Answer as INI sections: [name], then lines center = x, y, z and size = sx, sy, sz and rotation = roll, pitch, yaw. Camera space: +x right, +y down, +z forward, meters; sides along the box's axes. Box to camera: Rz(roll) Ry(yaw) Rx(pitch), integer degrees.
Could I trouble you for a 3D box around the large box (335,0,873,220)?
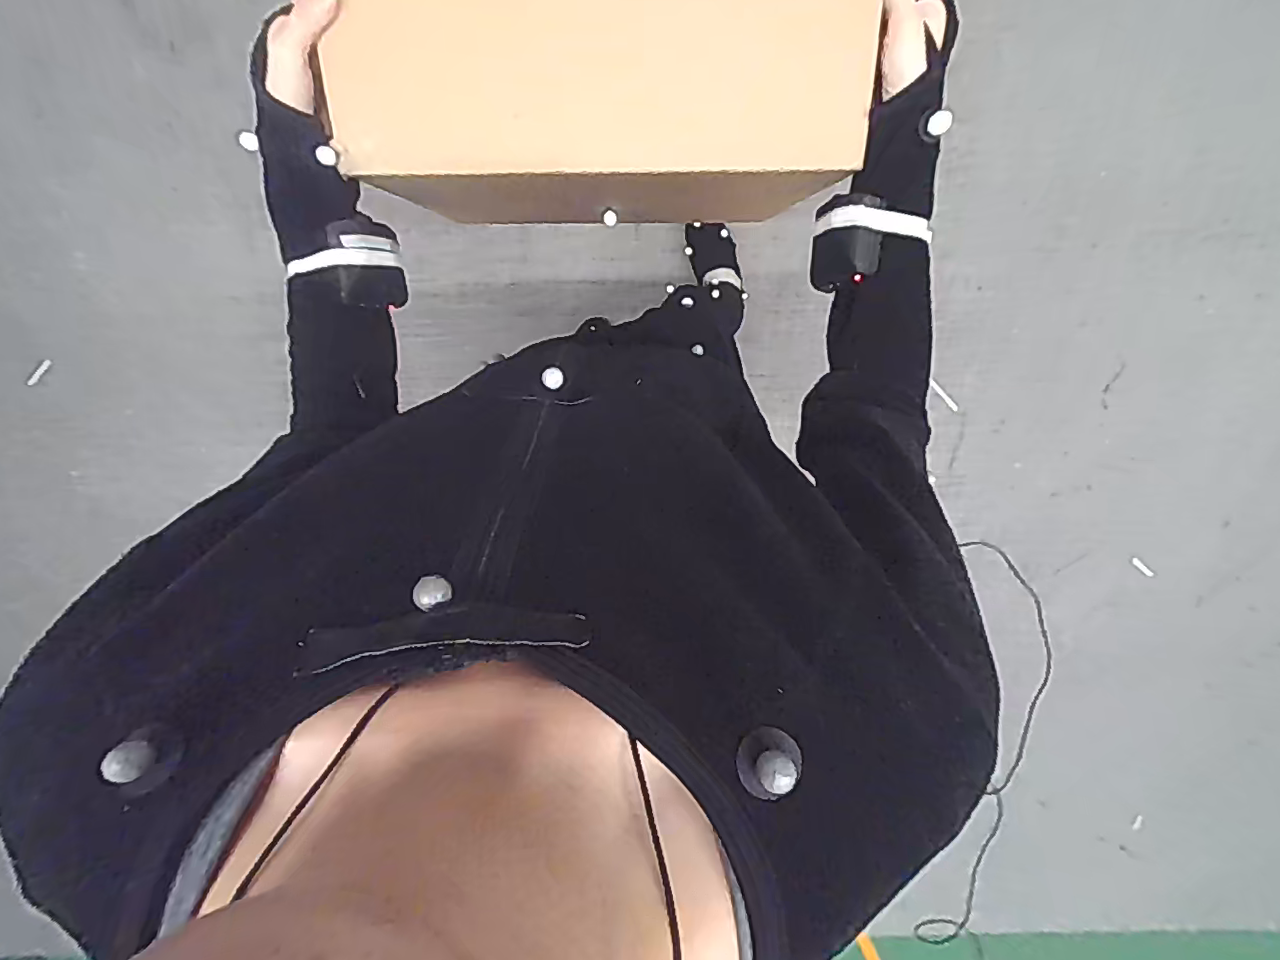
[large box]
center = -0.027, -0.442, 0.524
size = 0.408, 0.320, 0.320
rotation = -2, 108, -1
